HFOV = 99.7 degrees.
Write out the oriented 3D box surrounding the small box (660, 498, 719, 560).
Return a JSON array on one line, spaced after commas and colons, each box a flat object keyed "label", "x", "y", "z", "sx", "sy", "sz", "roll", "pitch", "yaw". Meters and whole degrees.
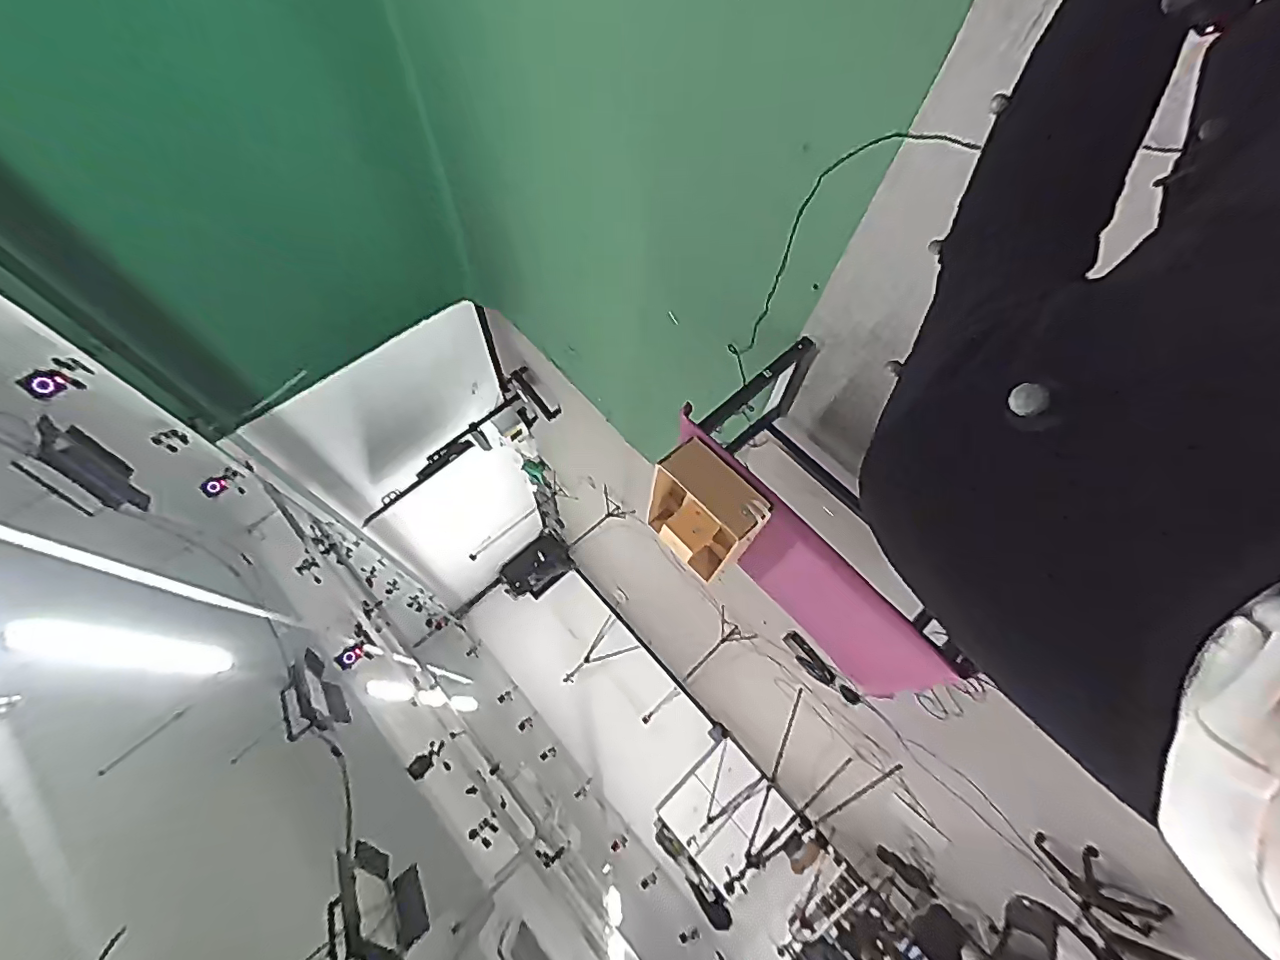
[{"label": "small box", "x": 0.209, "y": 0.202, "z": 2.257, "sx": 0.168, "sy": 0.176, "sz": 0.179, "roll": 44, "pitch": 160, "yaw": 13}]
